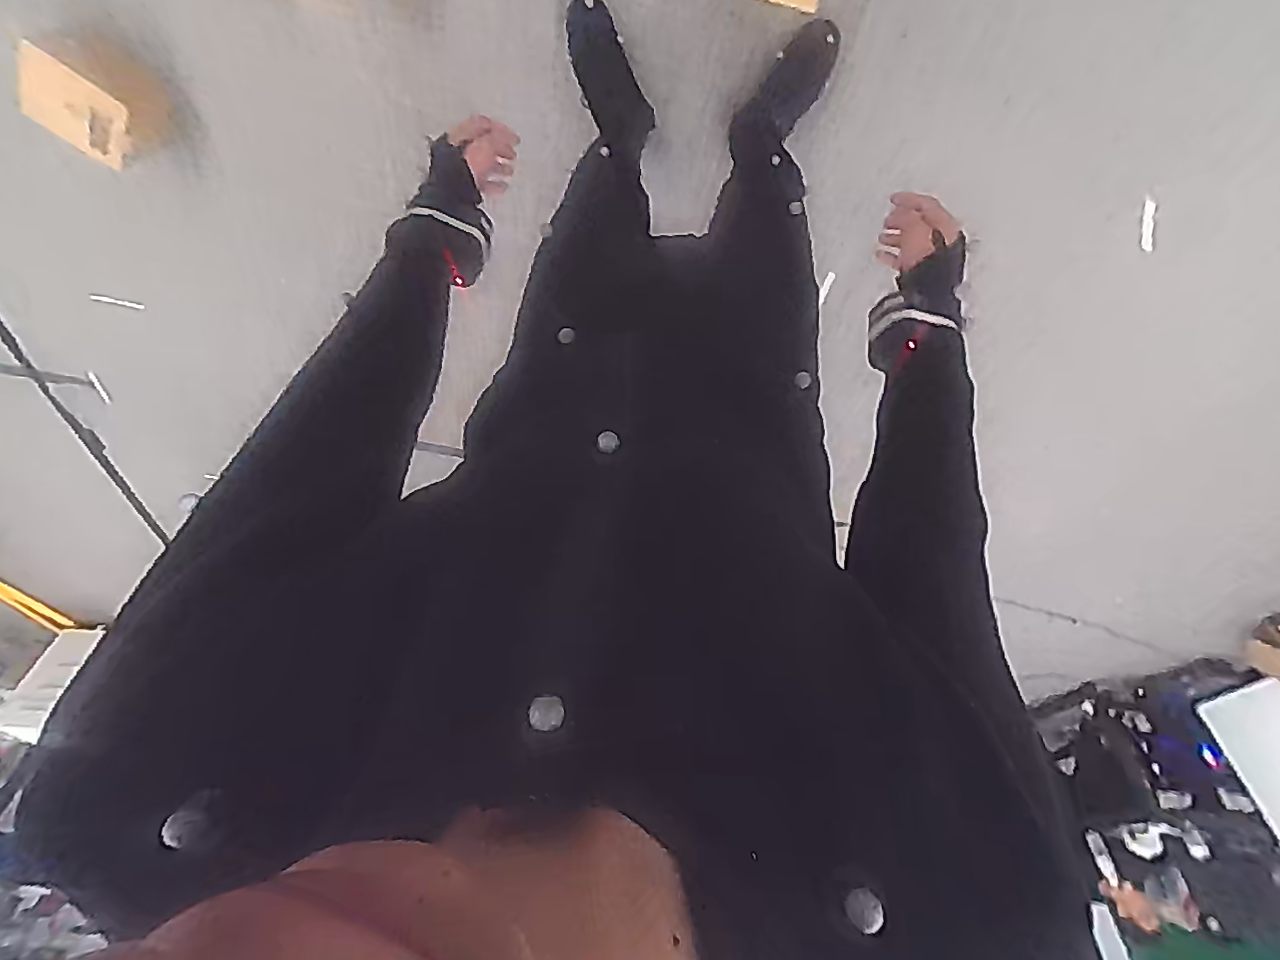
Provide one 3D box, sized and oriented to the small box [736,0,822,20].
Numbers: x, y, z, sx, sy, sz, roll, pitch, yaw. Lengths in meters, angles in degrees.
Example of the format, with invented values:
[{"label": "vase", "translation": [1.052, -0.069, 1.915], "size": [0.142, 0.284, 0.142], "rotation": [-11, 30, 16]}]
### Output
[{"label": "small box", "translation": [0.252, -0.941, 0.939], "size": [0.168, 0.176, 0.179], "rotation": [9, 137, -6]}]
